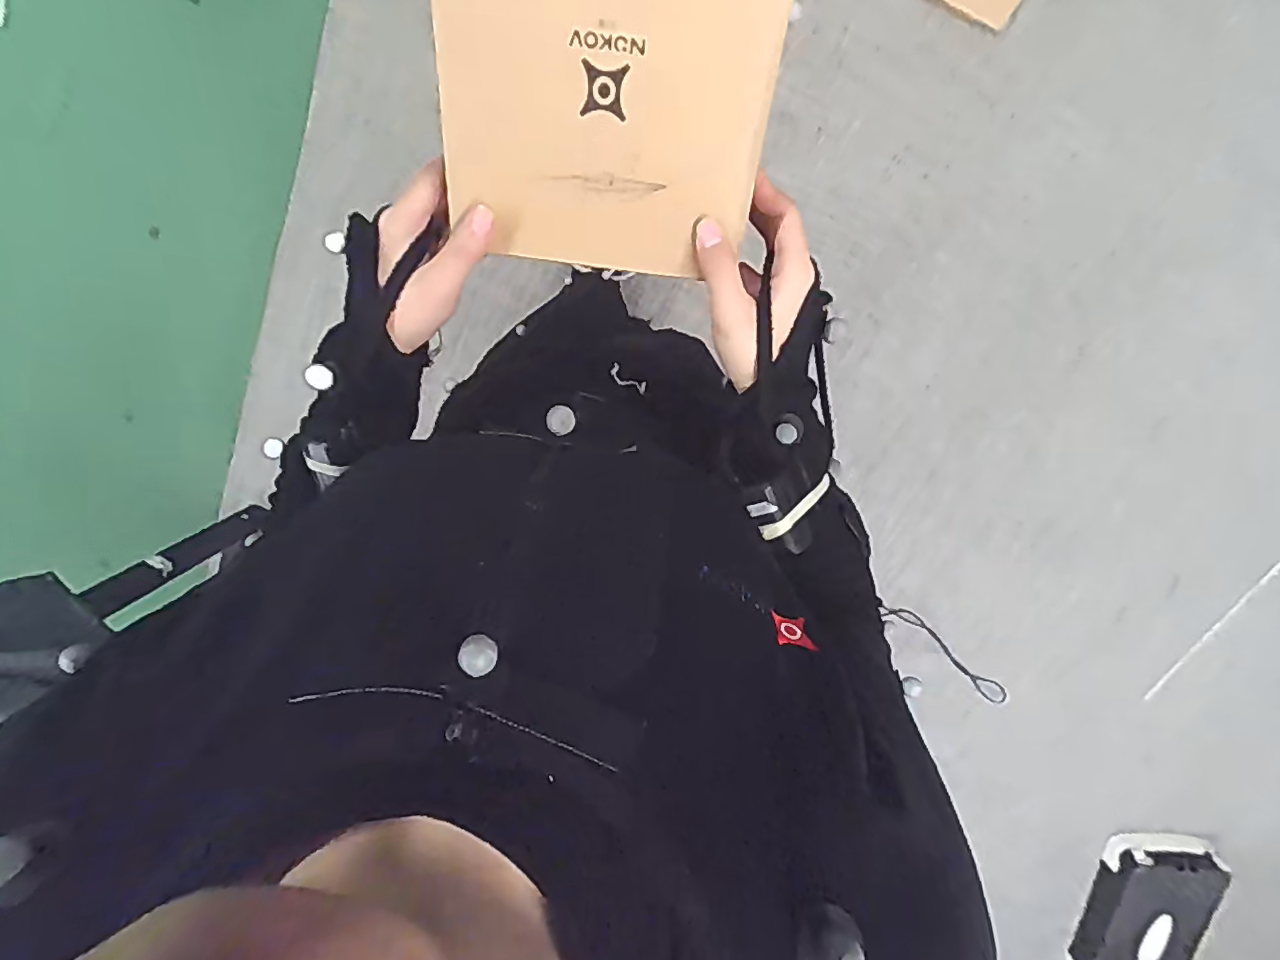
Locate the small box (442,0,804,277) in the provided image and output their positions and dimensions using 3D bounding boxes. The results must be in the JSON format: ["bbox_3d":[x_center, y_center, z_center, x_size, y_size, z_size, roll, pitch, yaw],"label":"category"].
[{"bbox_3d":[-0.007,-0.242,0.324,0.168,0.176,0.179,8,125,0],"label":"small box"}]
